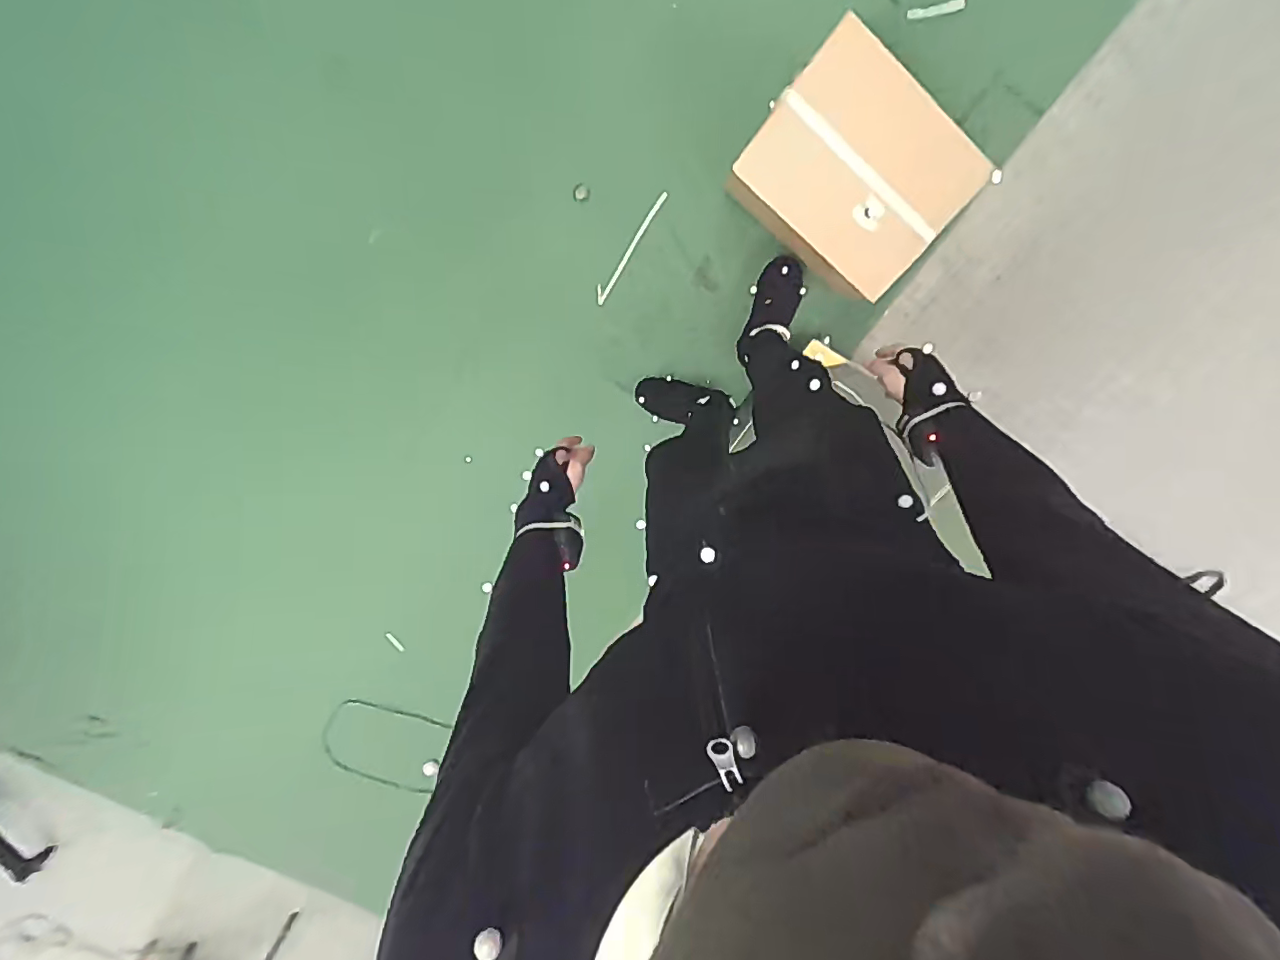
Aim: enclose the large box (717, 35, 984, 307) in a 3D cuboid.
[{"bbox_3d":[0.429,-0.644,1.199,0.408,0.320,0.320,36,111,-11],"label":"large box"}]
